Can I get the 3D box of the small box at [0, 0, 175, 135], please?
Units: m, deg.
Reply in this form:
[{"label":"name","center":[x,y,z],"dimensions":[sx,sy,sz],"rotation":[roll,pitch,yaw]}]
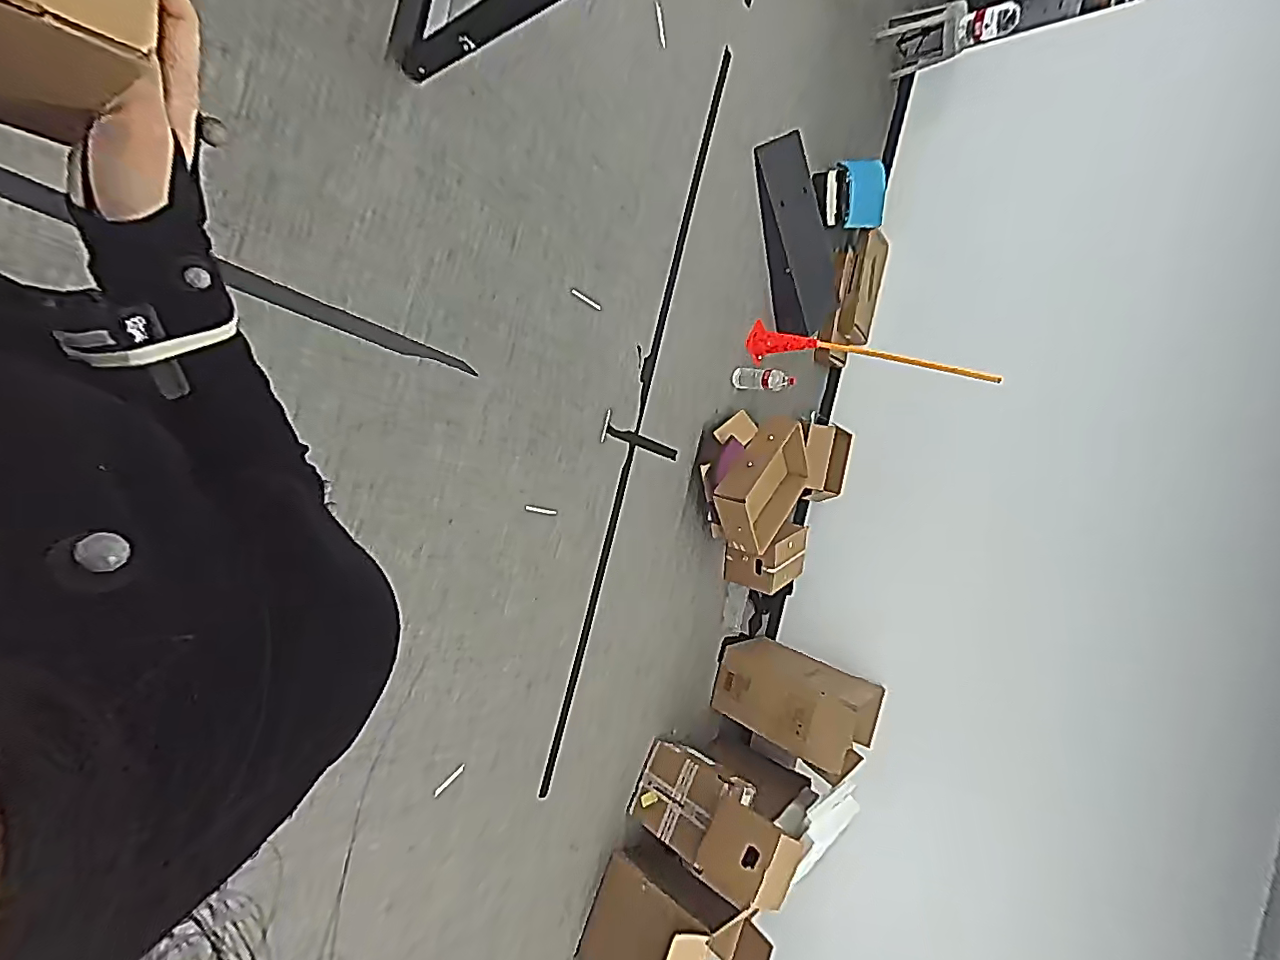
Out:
[{"label":"small box","center":[-0.286,-0.255,0.187],"dimensions":[0.168,0.176,0.179],"rotation":[-3,103,-55]}]
